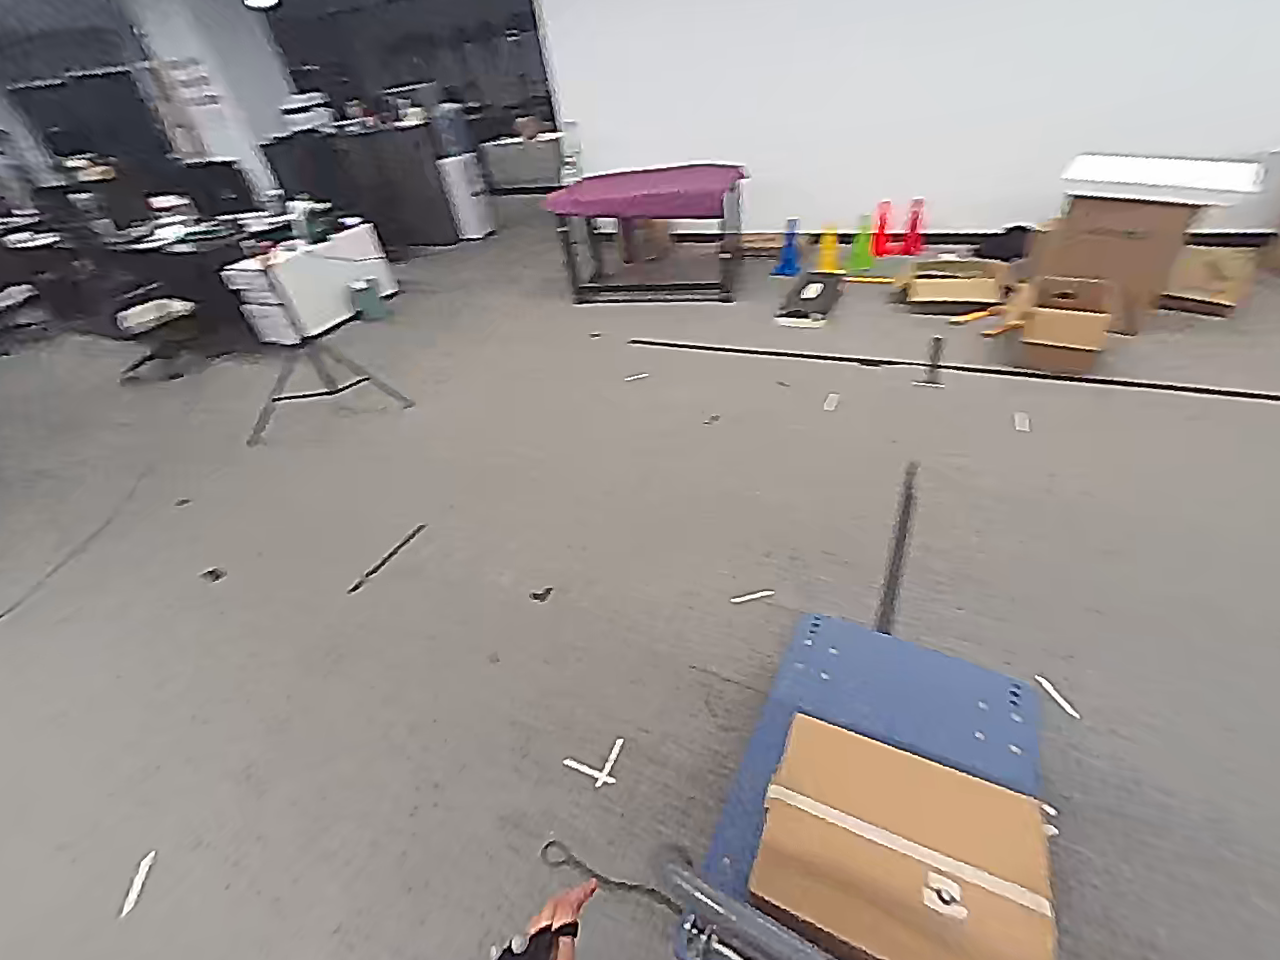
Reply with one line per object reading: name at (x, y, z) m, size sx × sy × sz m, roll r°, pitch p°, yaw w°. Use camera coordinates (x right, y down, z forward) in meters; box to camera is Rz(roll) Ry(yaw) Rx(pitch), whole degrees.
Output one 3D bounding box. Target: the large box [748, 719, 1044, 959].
large box at (0.429, 0.706, 0.970) m, size 0.408 × 0.320 × 0.320 m, roll 12°, pitch 44°, yaw 23°
